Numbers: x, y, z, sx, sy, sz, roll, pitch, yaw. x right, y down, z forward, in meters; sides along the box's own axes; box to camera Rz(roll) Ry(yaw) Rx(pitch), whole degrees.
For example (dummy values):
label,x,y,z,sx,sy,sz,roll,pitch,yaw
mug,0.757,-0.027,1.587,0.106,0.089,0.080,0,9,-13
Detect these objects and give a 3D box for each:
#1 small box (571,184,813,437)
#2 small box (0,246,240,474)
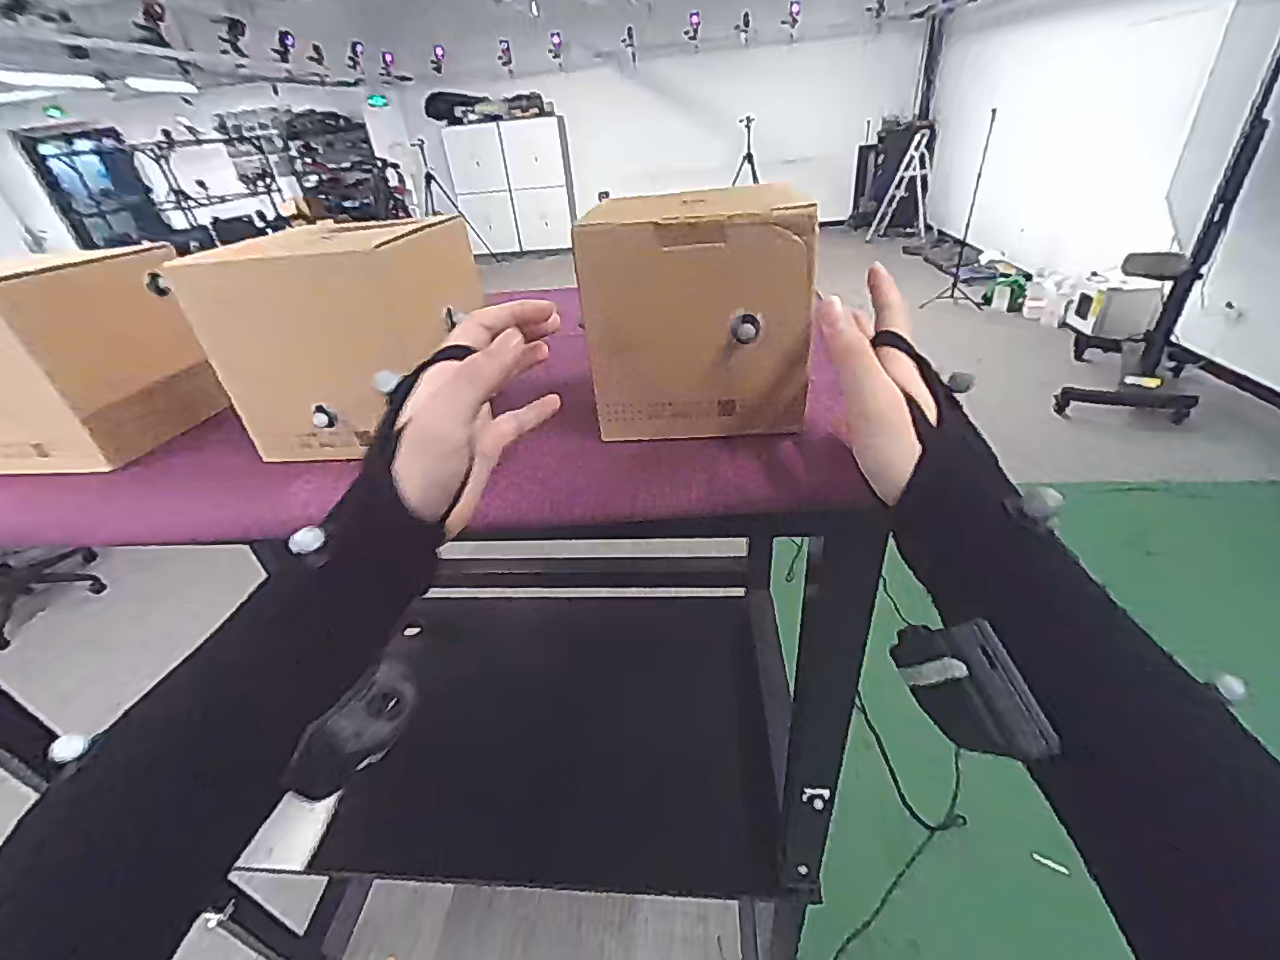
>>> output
label,x,y,z,sx,sy,sz,roll,pitch,yaw
small box,0.050,-0.145,0.467,0.168,0.176,0.179,-1,32,8
small box,-0.544,-0.114,0.521,0.168,0.176,0.179,-1,31,7
